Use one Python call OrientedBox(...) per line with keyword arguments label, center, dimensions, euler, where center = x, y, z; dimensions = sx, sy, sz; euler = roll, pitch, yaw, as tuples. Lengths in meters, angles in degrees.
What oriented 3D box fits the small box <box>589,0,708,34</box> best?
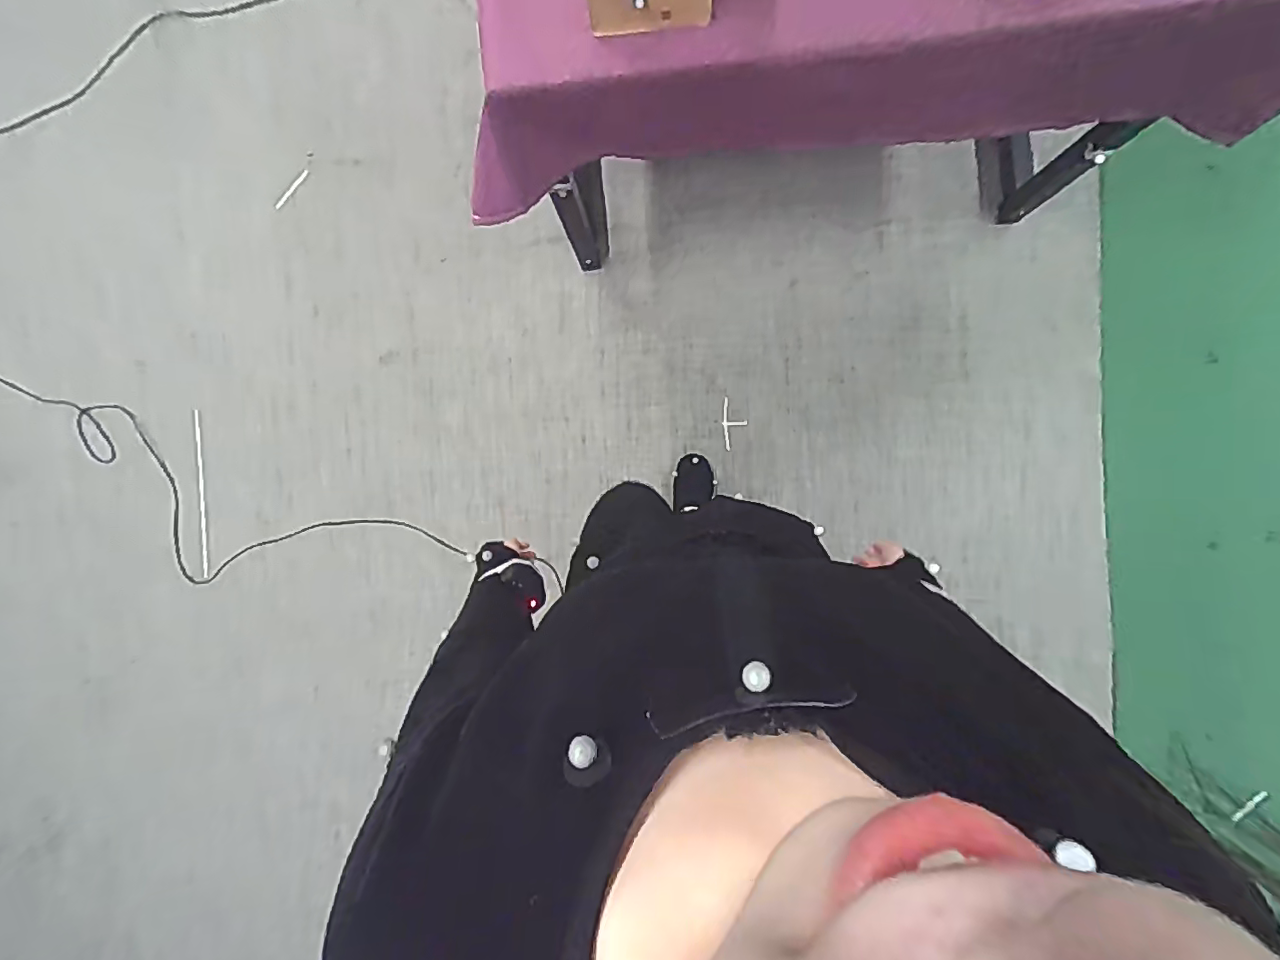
OrientedBox(label="small box", center=(0.005, -0.721, 0.684), dimensions=(0.168, 0.176, 0.179), euler=(-3, 91, 3))
